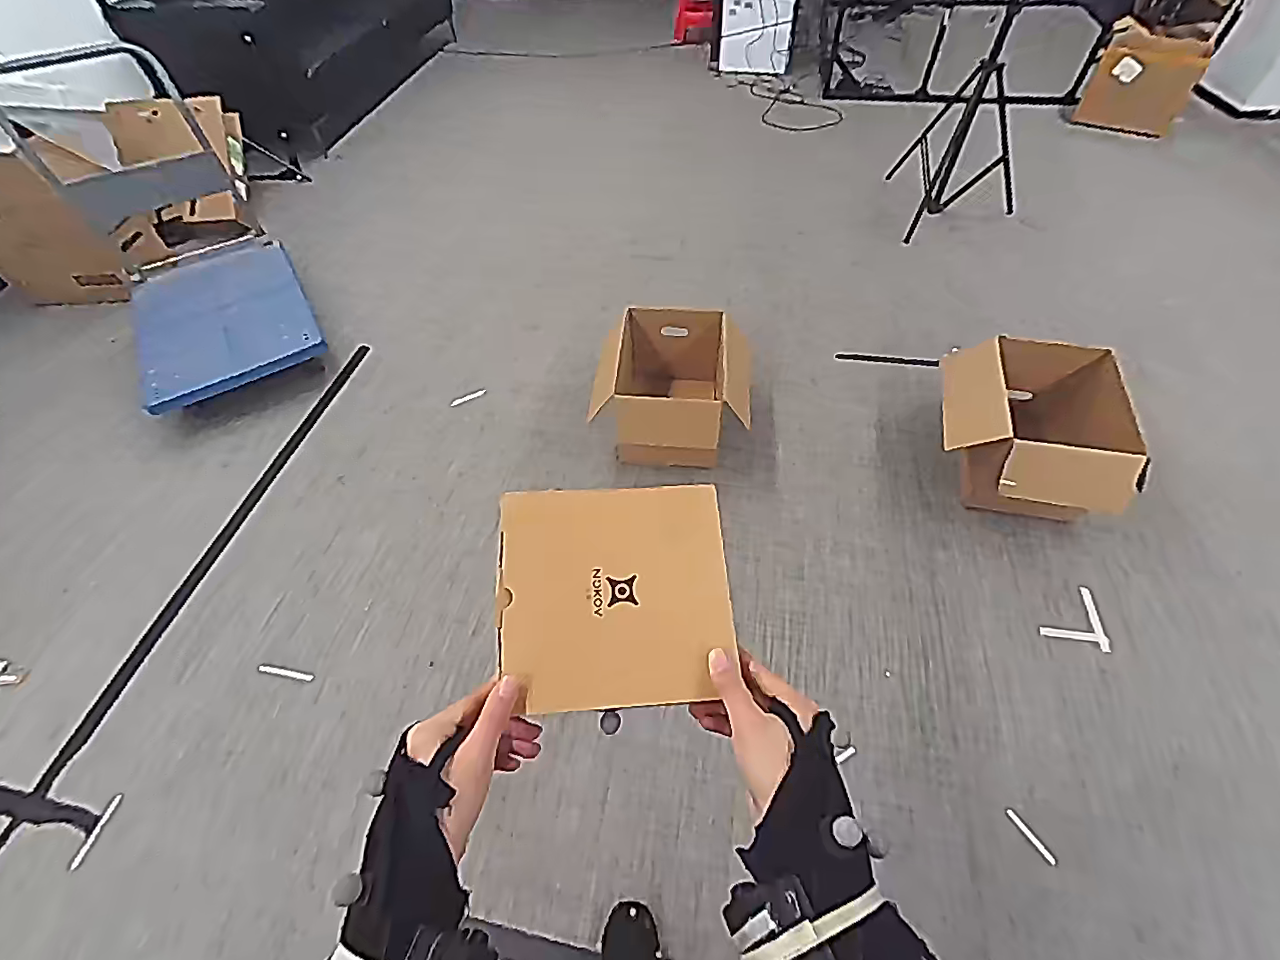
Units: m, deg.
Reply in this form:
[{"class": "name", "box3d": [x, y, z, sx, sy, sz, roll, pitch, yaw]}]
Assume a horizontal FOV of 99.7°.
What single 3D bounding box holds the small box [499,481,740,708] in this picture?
[{"class": "small box", "box3d": [-0.023, 0.108, 0.486, 0.179, 0.176, 0.168, -3, 68, -4]}]
